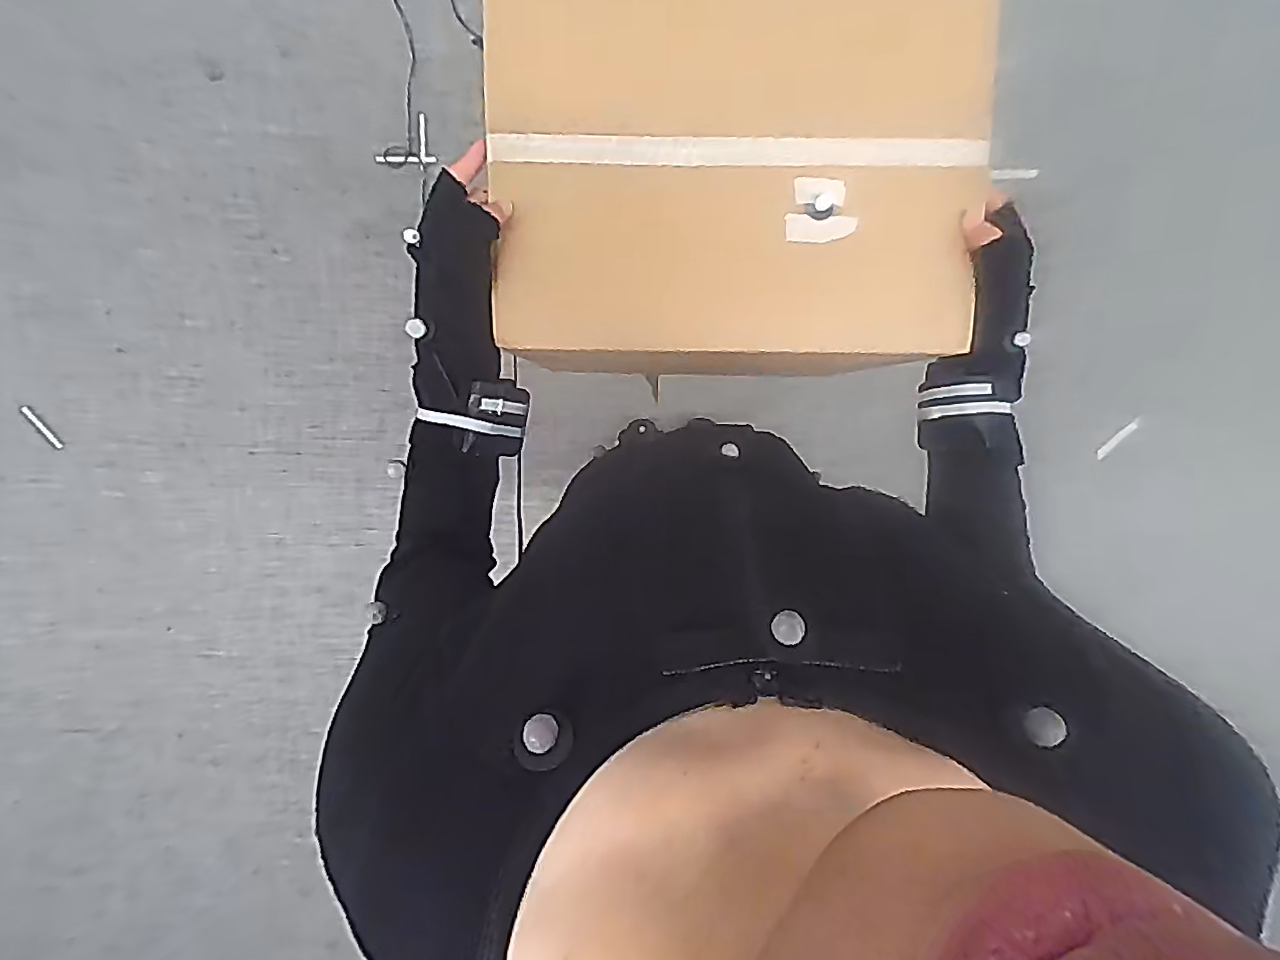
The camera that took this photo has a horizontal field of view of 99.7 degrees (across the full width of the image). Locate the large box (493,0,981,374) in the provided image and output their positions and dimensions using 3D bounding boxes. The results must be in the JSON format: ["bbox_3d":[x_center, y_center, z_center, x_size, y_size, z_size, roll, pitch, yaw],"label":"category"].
[{"bbox_3d":[0.076,-0.289,0.597,0.408,0.320,0.320,0,97,-1],"label":"large box"}]
